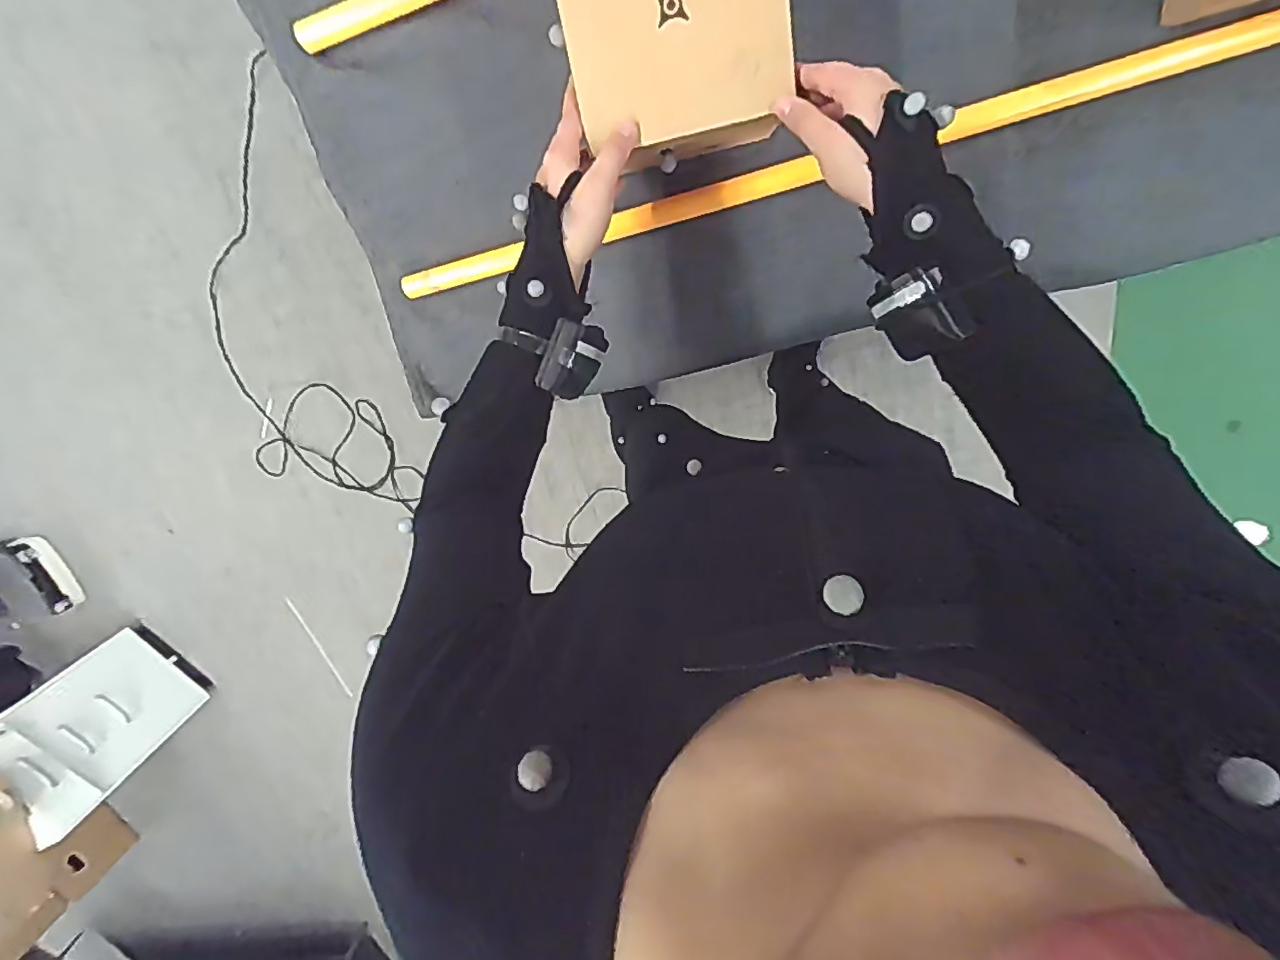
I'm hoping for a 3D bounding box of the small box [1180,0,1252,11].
[{"bbox_3d":[0.510,-0.453,0.358,0.168,0.176,0.179,-7,115,12],"label":"small box"}]

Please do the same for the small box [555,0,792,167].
[{"bbox_3d":[0.029,-0.380,0.457,0.168,0.176,0.179,-8,114,10],"label":"small box"}]
